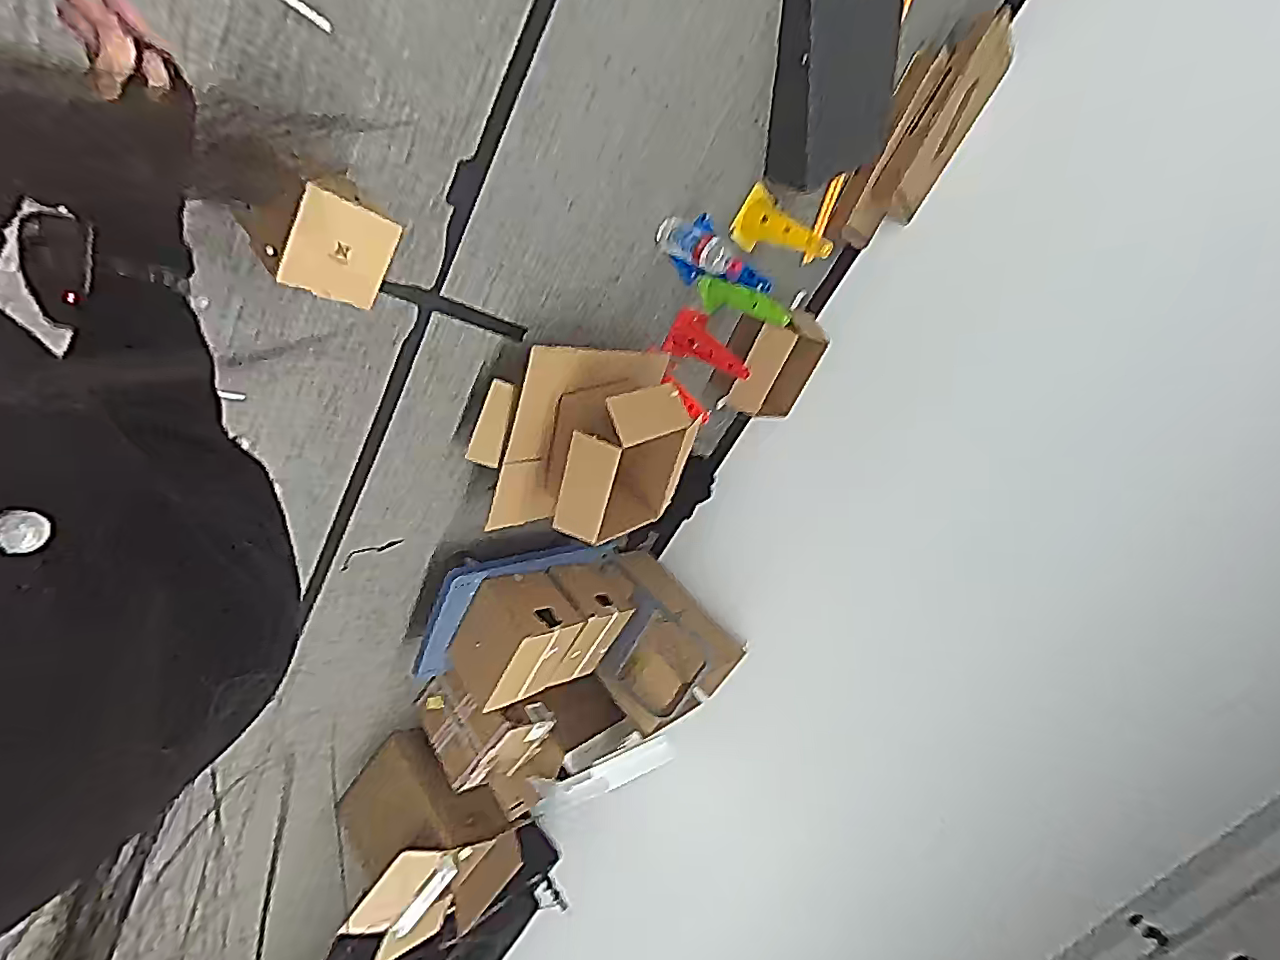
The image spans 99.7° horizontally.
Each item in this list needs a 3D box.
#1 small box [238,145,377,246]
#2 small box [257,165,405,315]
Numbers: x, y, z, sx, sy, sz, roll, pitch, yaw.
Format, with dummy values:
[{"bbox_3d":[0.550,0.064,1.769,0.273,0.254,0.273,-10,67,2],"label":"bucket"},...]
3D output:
[{"bbox_3d":[-0.672,-0.539,1.086,0.179,0.176,0.168,3,124,-55],"label":"small box"},{"bbox_3d":[-0.575,-0.442,0.999,0.168,0.176,0.179,6,123,-54],"label":"small box"}]
